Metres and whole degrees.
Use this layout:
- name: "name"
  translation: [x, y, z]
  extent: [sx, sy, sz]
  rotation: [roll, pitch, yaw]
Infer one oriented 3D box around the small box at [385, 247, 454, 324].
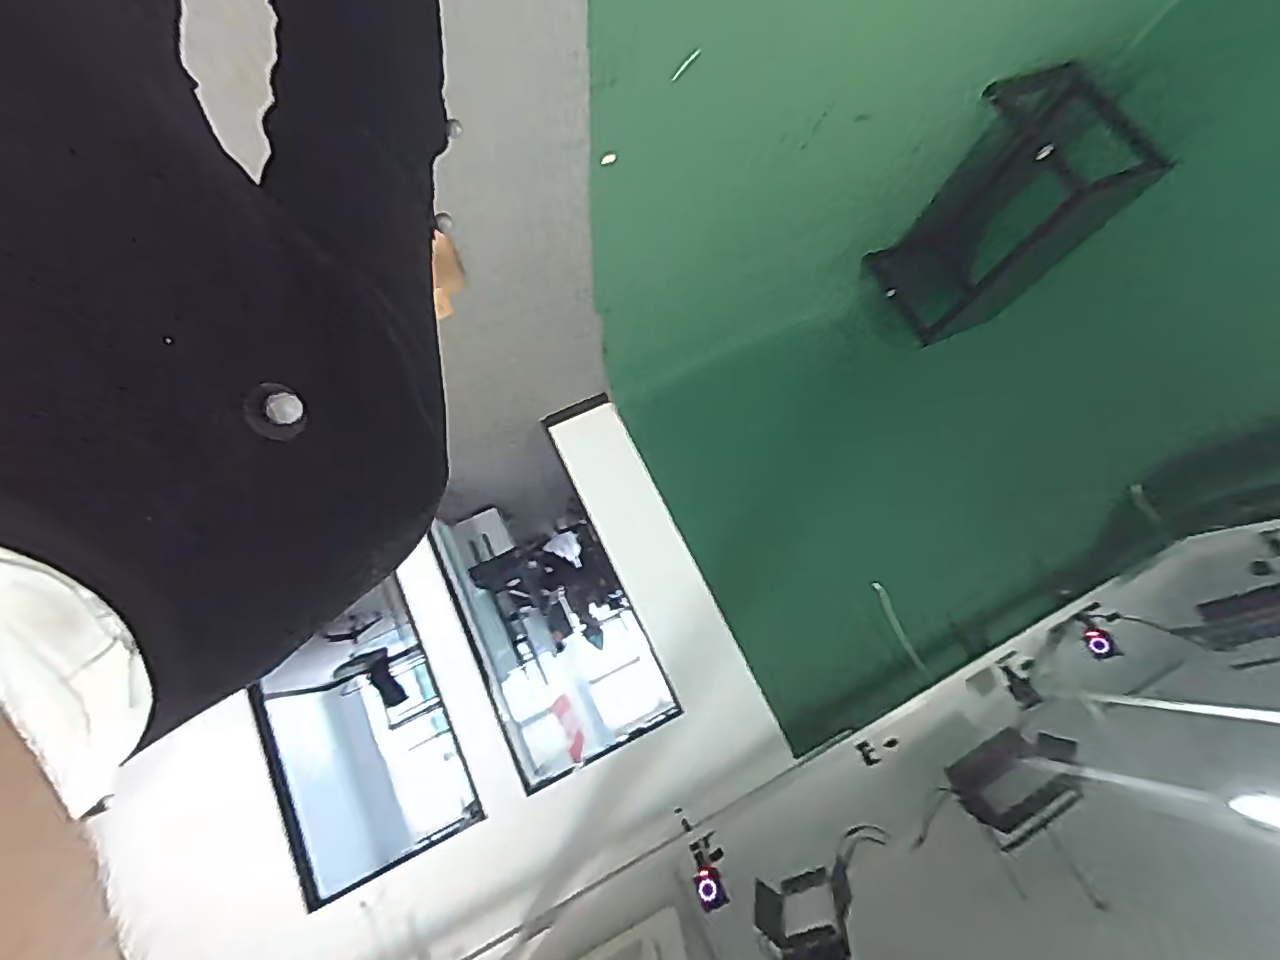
- name: "small box"
  translation: [-0.796, -0.701, 1.945]
  extent: [0.179, 0.176, 0.168]
  rotation: [-24, 167, -13]
